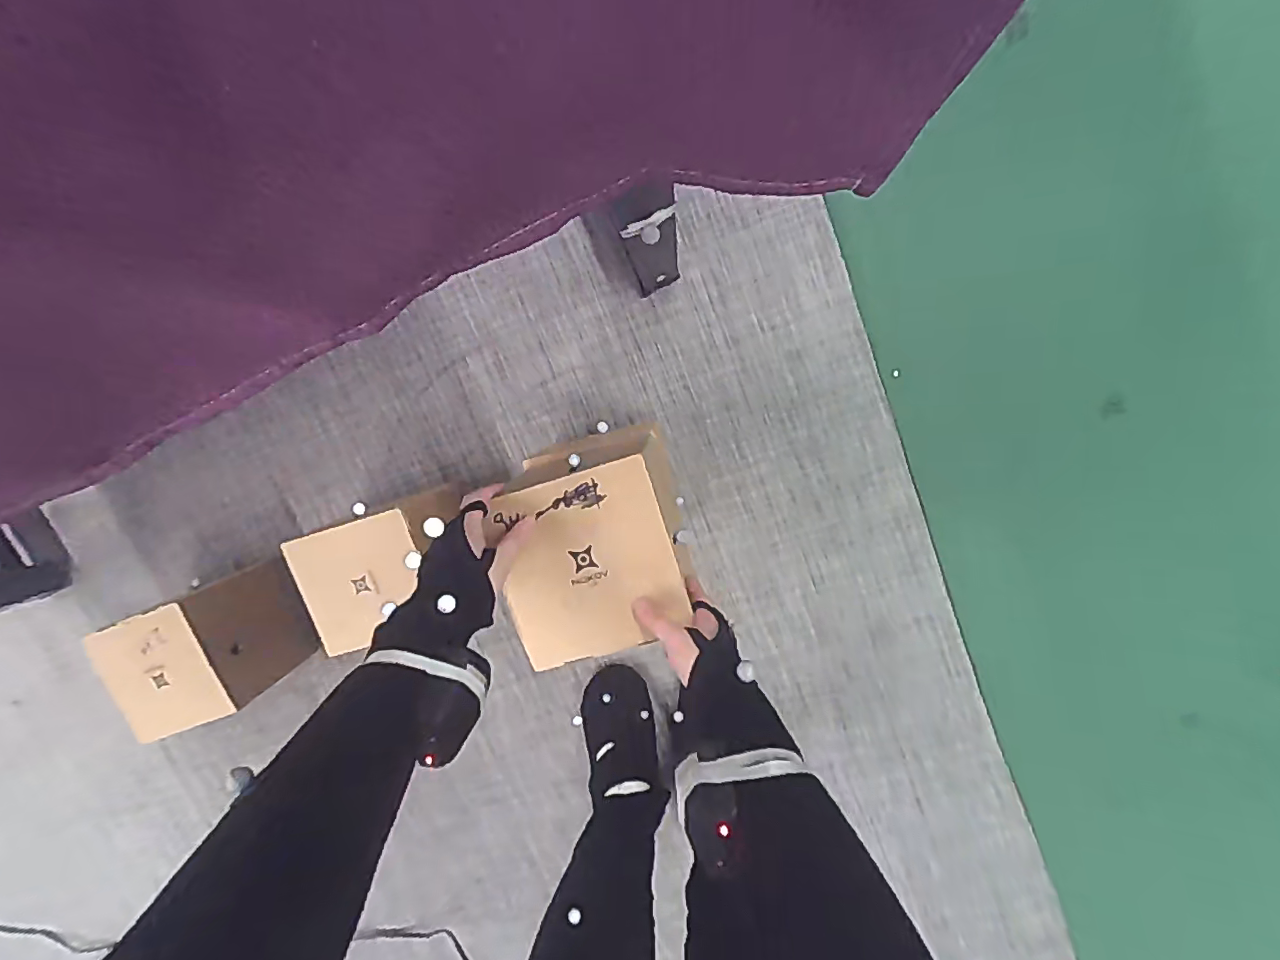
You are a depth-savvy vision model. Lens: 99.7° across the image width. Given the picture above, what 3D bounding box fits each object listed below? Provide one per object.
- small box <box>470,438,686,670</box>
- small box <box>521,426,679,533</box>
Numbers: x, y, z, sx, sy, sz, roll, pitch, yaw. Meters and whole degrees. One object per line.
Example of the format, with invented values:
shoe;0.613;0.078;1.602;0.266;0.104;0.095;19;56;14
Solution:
small box;-0.049;0.067;0.577;0.168;0.176;0.179;-16;100;8
small box;-0.042;0.031;0.740;0.168;0.176;0.179;-12;98;6
